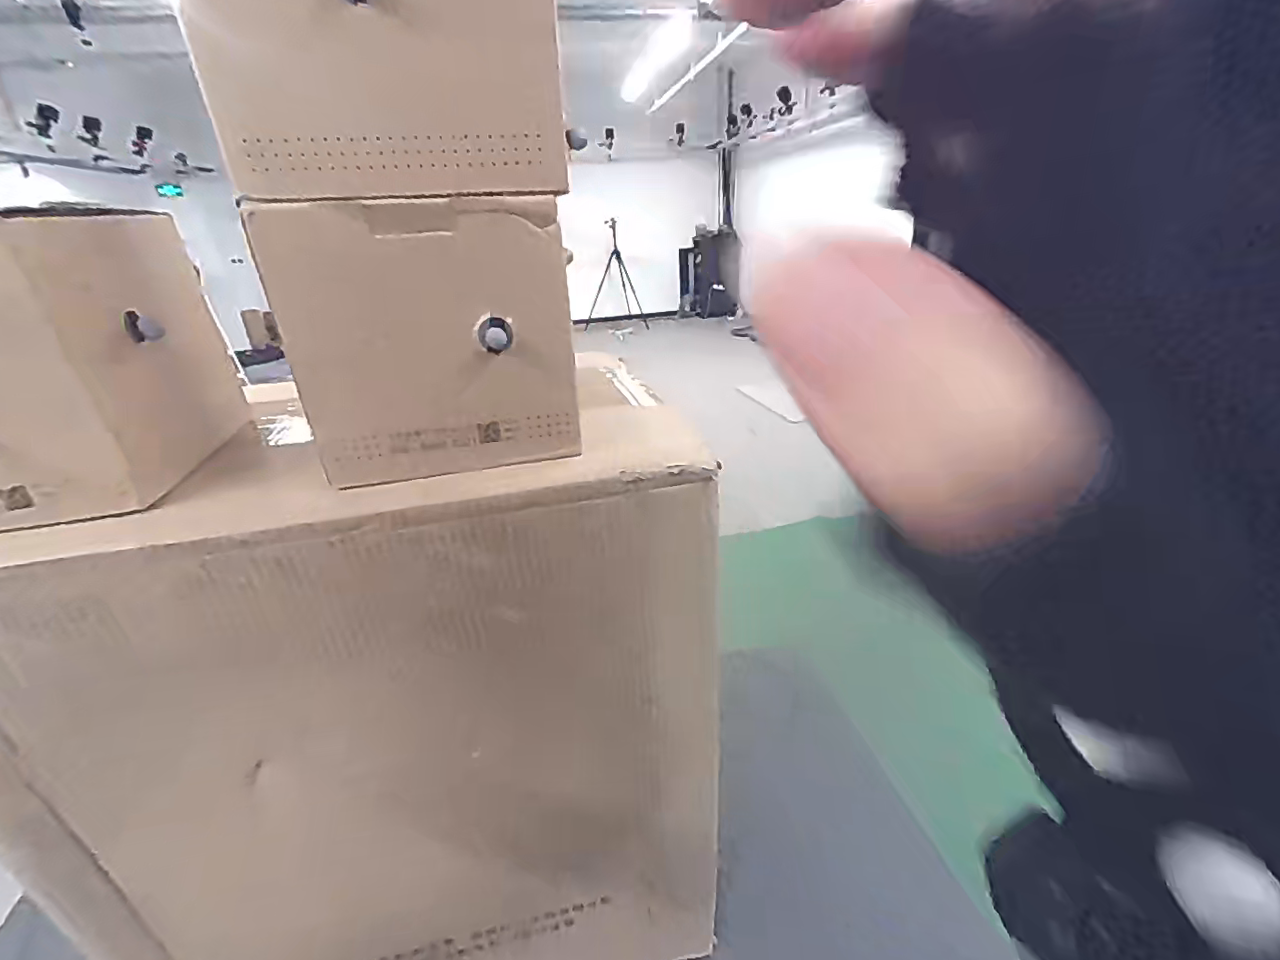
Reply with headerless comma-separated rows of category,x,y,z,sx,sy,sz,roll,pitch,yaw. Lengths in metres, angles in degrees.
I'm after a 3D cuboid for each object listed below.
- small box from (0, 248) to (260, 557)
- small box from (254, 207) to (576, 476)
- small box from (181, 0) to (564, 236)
small box,-0.406,-0.058,0.377,0.168,0.176,0.179,-11,28,-13
small box,-0.144,-0.109,0.411,0.168,0.176,0.179,-7,26,-11
small box,-0.142,-0.242,0.347,0.179,0.176,0.168,-6,26,-7
